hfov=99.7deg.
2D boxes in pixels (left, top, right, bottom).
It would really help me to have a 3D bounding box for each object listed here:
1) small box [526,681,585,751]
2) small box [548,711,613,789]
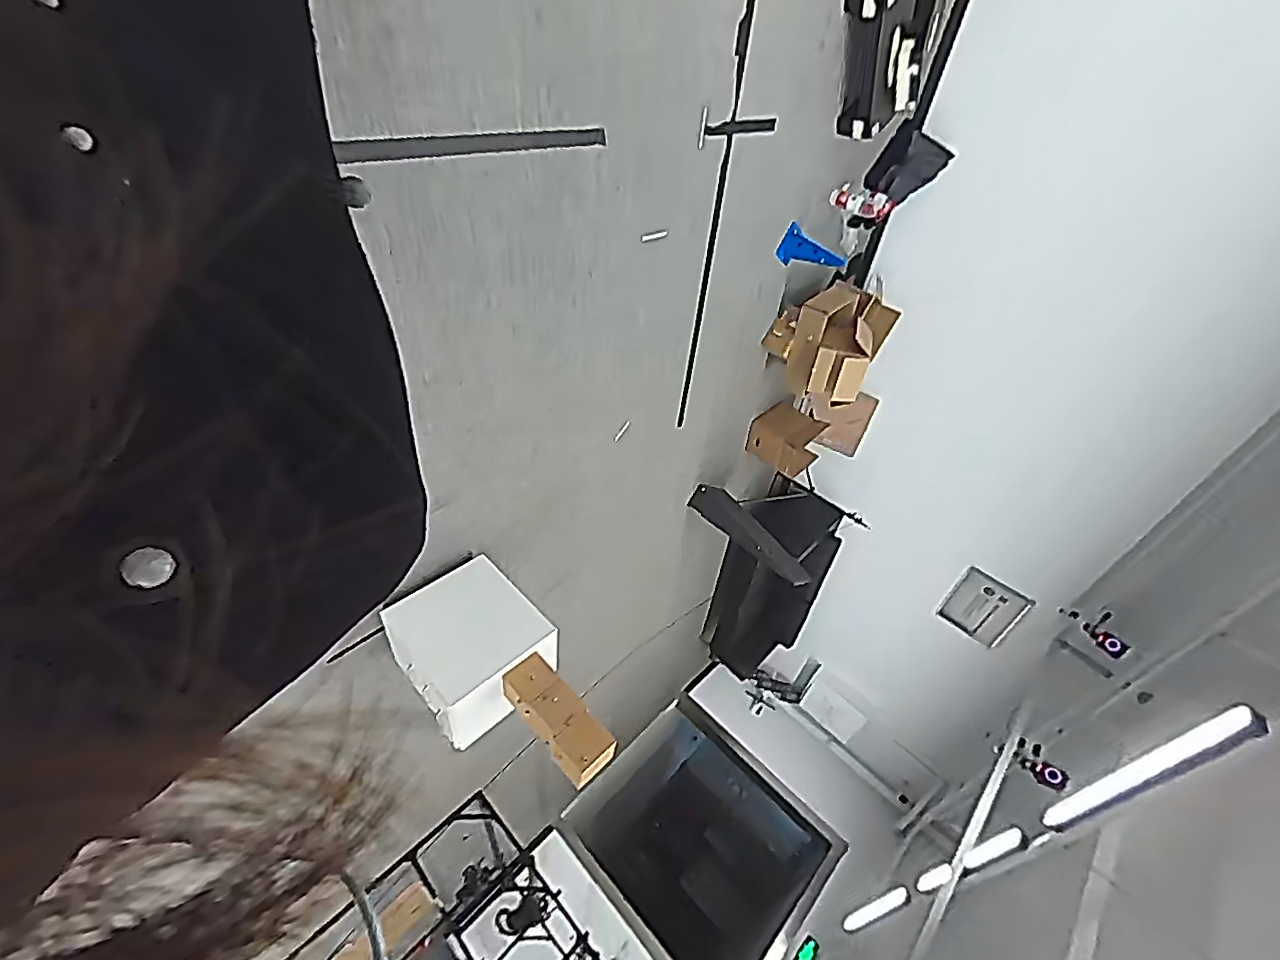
[{"bbox_3d":[-0.342,0.944,2.163,0.168,0.176,0.179,-30,145,-39],"label":"small box"},{"bbox_3d":[-0.232,1.032,2.081,0.179,0.176,0.168,-30,145,-37],"label":"small box"}]
